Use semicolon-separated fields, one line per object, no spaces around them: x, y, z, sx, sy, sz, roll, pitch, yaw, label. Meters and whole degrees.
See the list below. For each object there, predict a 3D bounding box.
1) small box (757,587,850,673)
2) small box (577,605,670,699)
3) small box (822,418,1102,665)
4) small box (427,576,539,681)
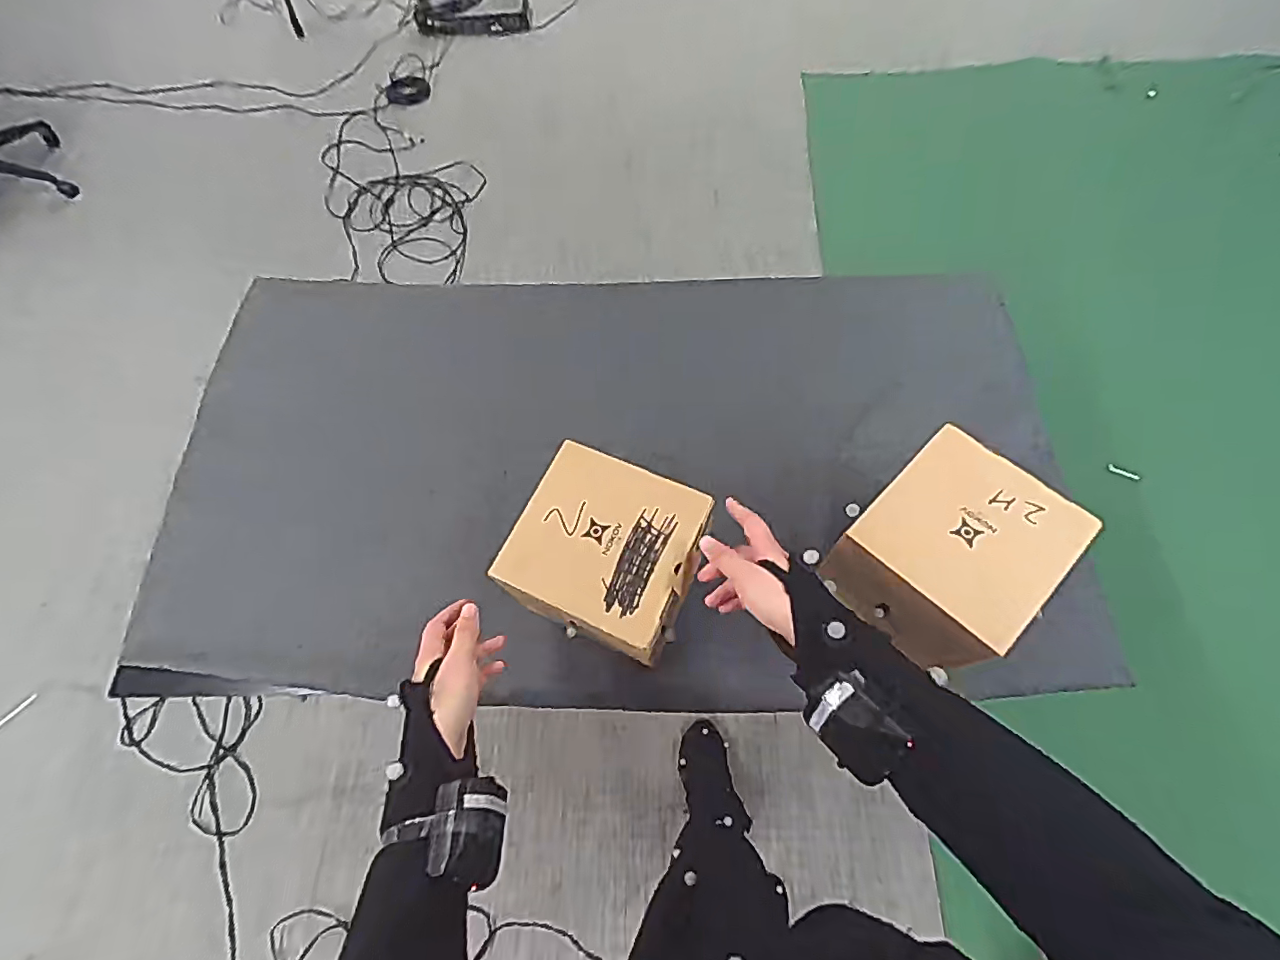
0.371;0.353;1.255;0.179;0.176;0.168;4;68;4;small box
-0.029;0.404;1.259;0.179;0.176;0.168;11;68;10;small box
0.319;0.075;0.580;0.179;0.176;0.168;-42;69;-14;small box
-0.364;0.363;1.298;0.168;0.176;0.179;30;71;15;small box
